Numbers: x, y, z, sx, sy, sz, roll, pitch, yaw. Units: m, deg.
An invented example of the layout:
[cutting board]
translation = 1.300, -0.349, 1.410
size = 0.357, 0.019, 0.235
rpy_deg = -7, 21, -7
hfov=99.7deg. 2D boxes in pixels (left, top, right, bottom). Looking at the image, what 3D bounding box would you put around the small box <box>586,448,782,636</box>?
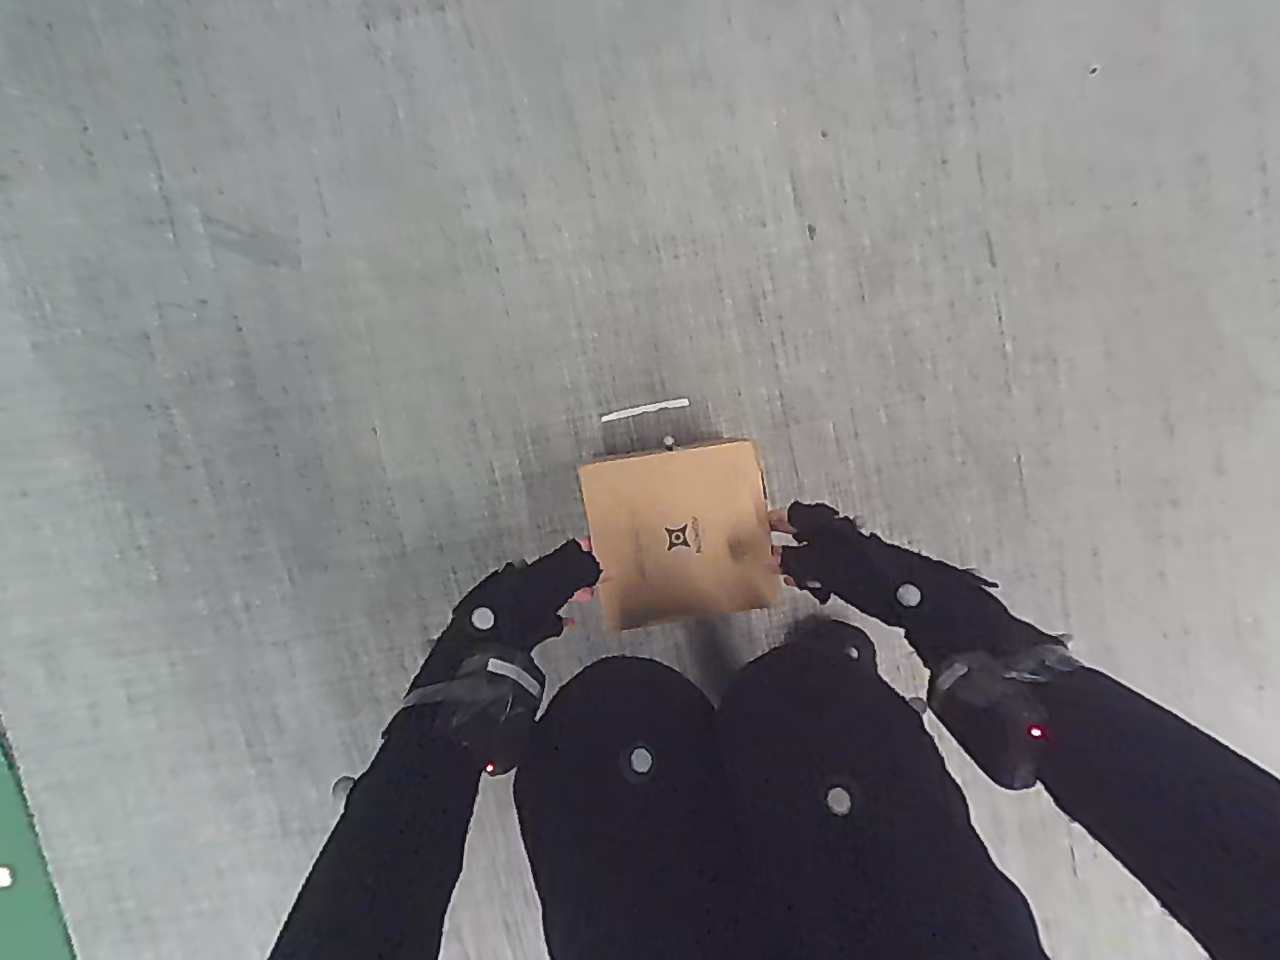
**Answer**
[small box]
translation = 0.042, 0.055, 0.603
size = 0.179, 0.176, 0.168
rpy_deg = -9, 94, 1
